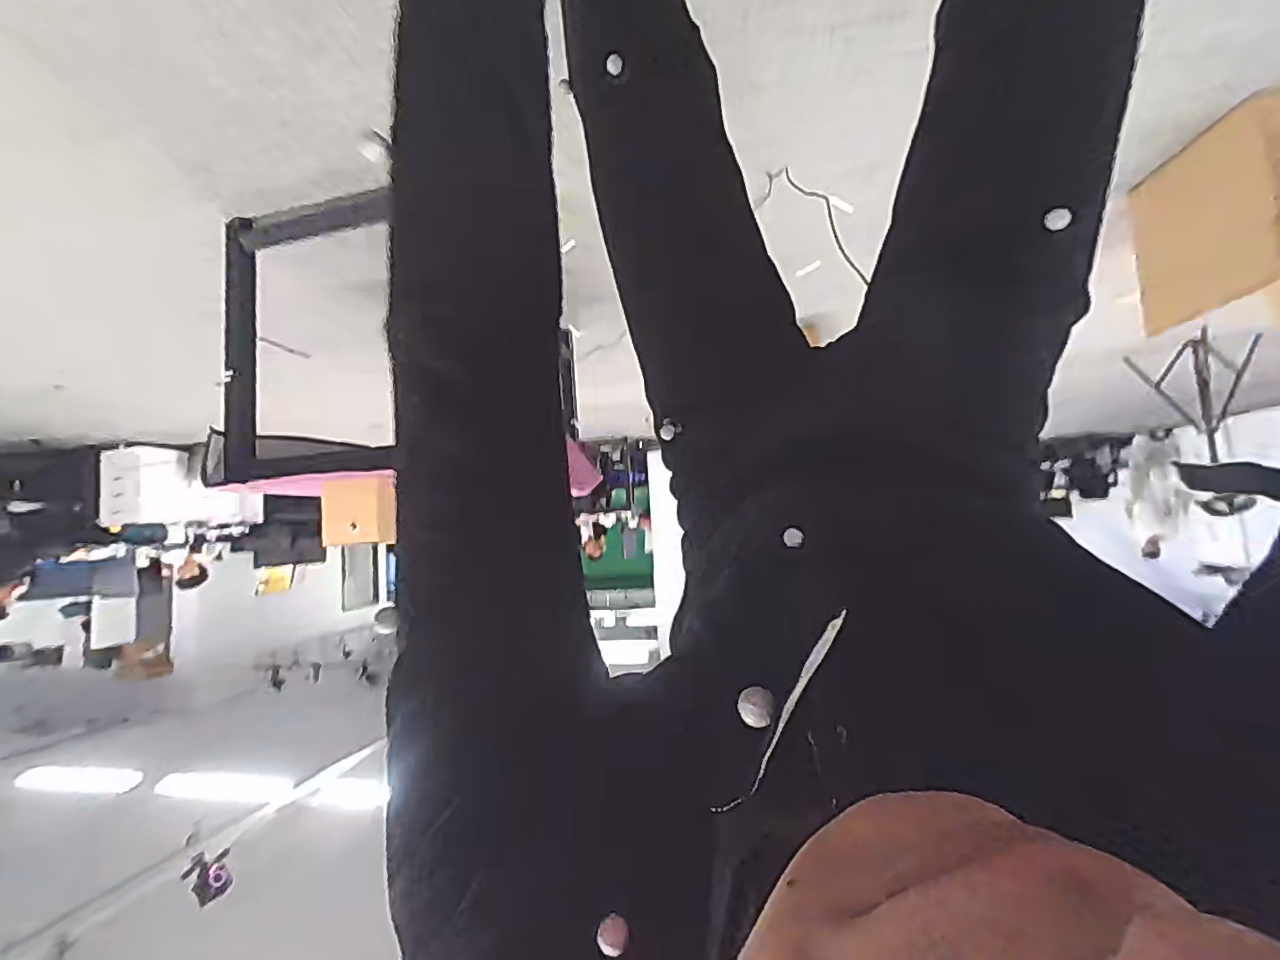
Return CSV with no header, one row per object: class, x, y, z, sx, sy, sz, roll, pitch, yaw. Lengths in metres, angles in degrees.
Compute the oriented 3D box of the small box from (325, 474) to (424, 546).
small box,-0.695,0.077,1.413,0.179,0.176,0.168,-5,176,17
